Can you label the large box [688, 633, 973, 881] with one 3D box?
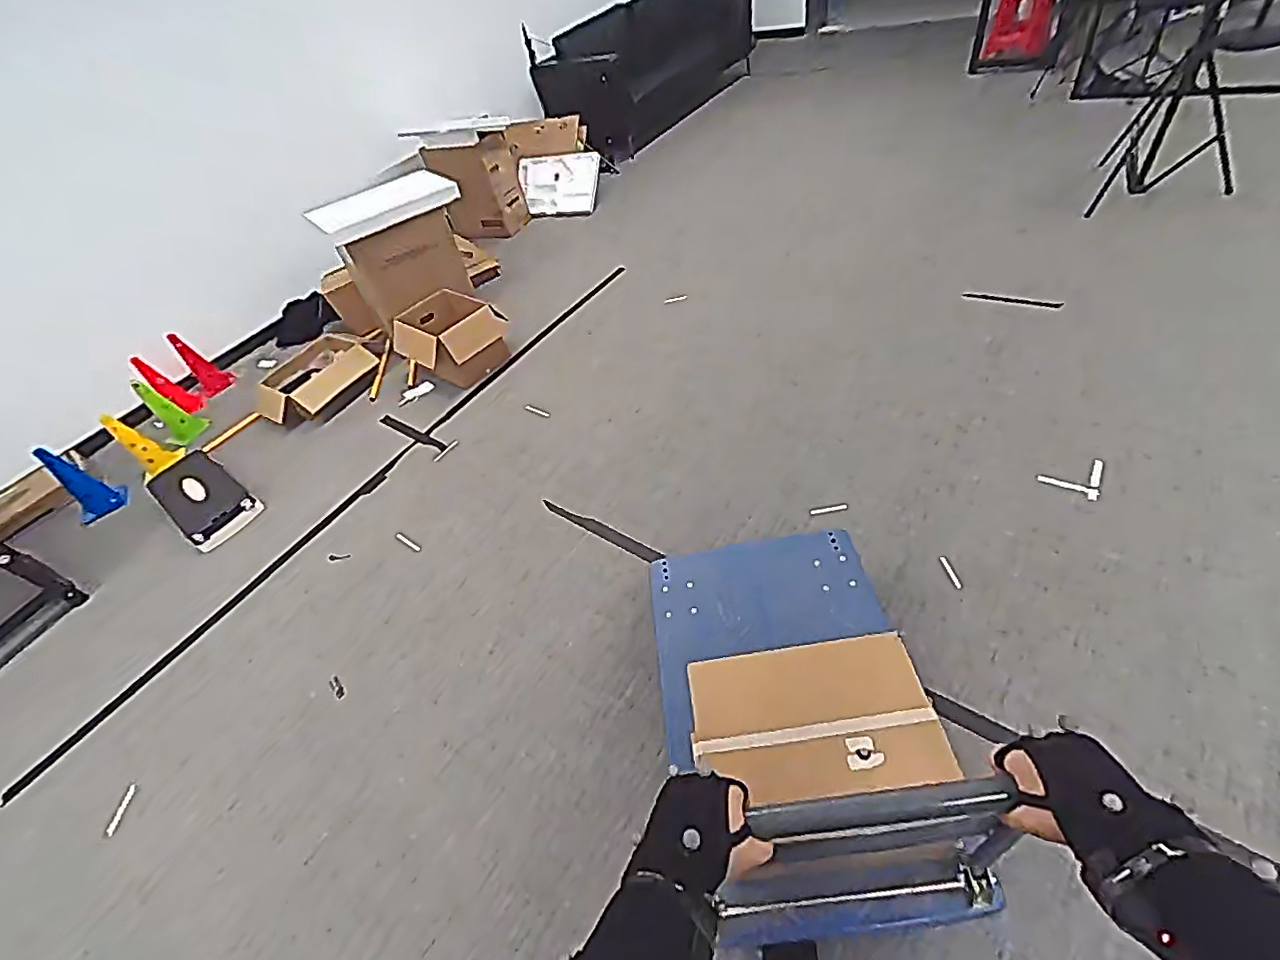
[{"bbox_3d":[0.324,0.536,1.037,0.408,0.320,0.320,-10,46,4],"label":"large box"}]
